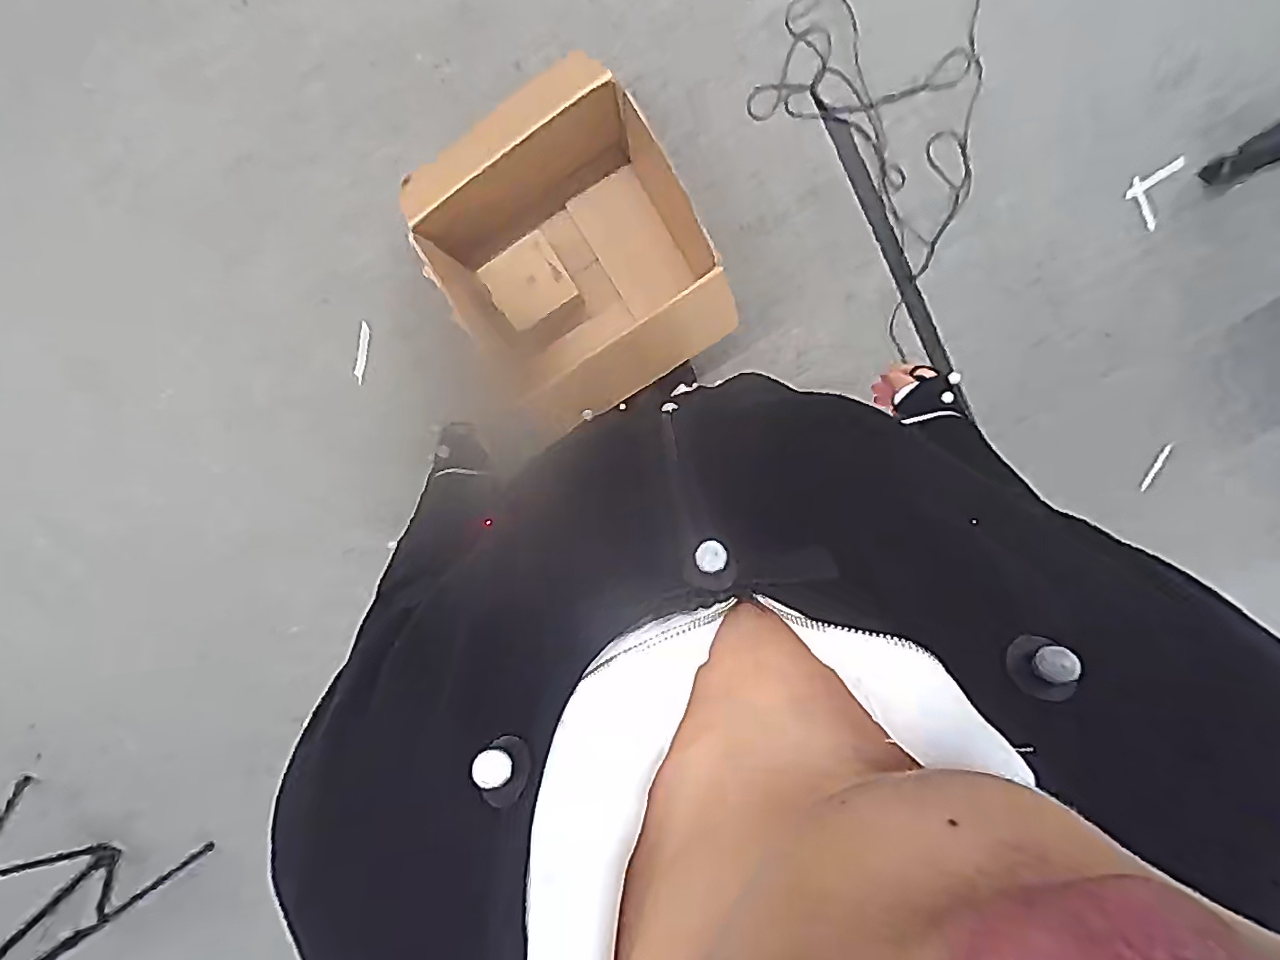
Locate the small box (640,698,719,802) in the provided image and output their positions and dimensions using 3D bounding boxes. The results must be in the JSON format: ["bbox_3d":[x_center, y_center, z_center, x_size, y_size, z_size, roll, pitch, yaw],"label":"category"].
[{"bbox_3d":[0.109,0.773,1.562,0.168,0.176,0.179,-28,100,2],"label":"small box"}]
